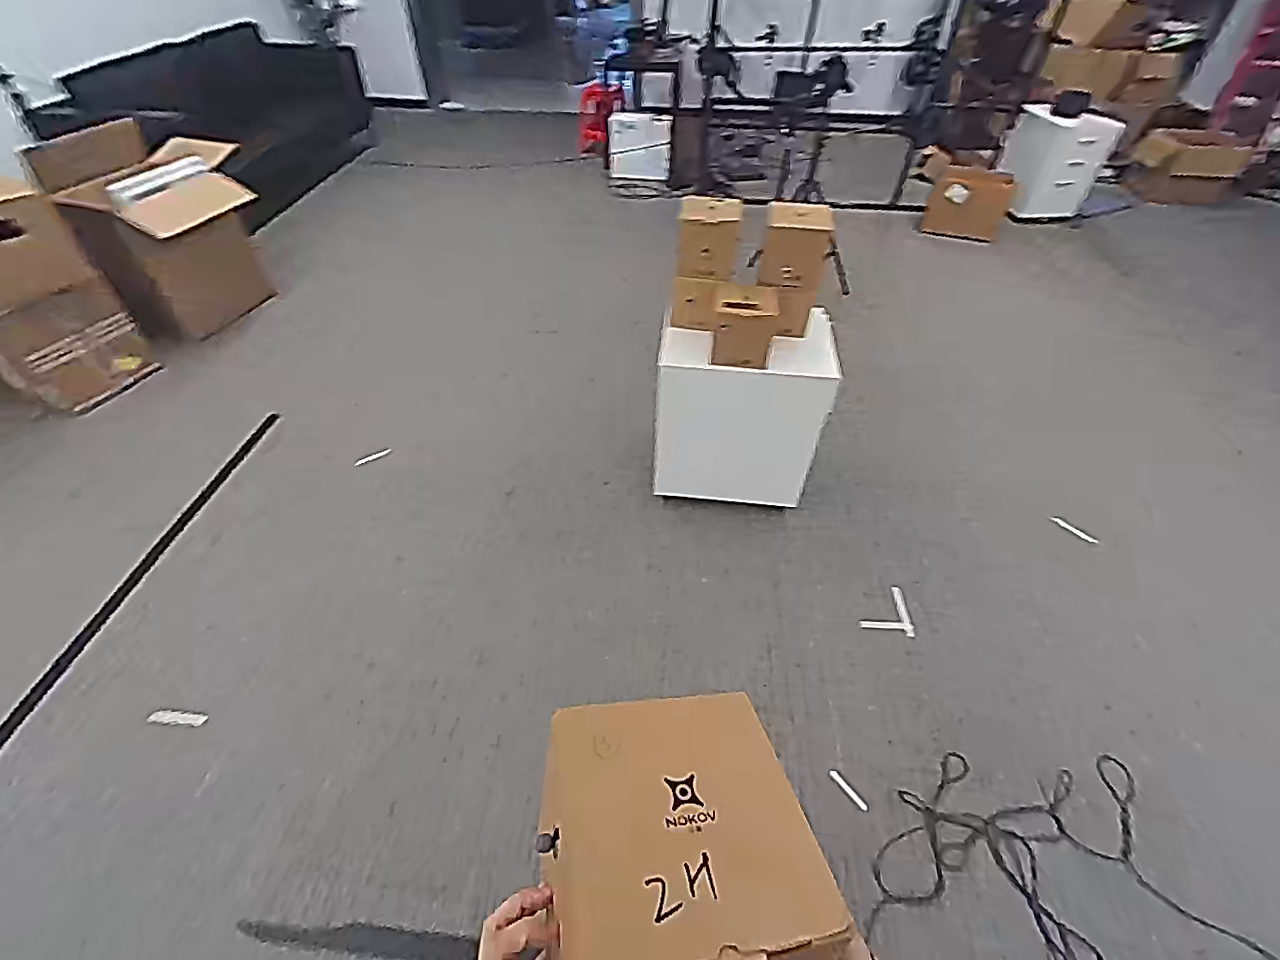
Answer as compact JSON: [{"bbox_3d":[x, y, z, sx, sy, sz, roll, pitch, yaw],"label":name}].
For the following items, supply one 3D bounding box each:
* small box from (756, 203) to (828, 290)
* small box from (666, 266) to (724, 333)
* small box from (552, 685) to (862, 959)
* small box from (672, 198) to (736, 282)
[{"bbox_3d":[0.426,-0.667,1.545,0.168,0.176,0.179,6,48,6],"label":"small box"},{"bbox_3d":[0.173,-0.576,1.681,0.168,0.176,0.179,8,47,6],"label":"small box"},{"bbox_3d":[0.026,0.287,0.414,0.168,0.176,0.179,2,30,-15],"label":"small box"},{"bbox_3d":[0.184,-0.693,1.566,0.168,0.176,0.179,7,47,6],"label":"small box"}]
